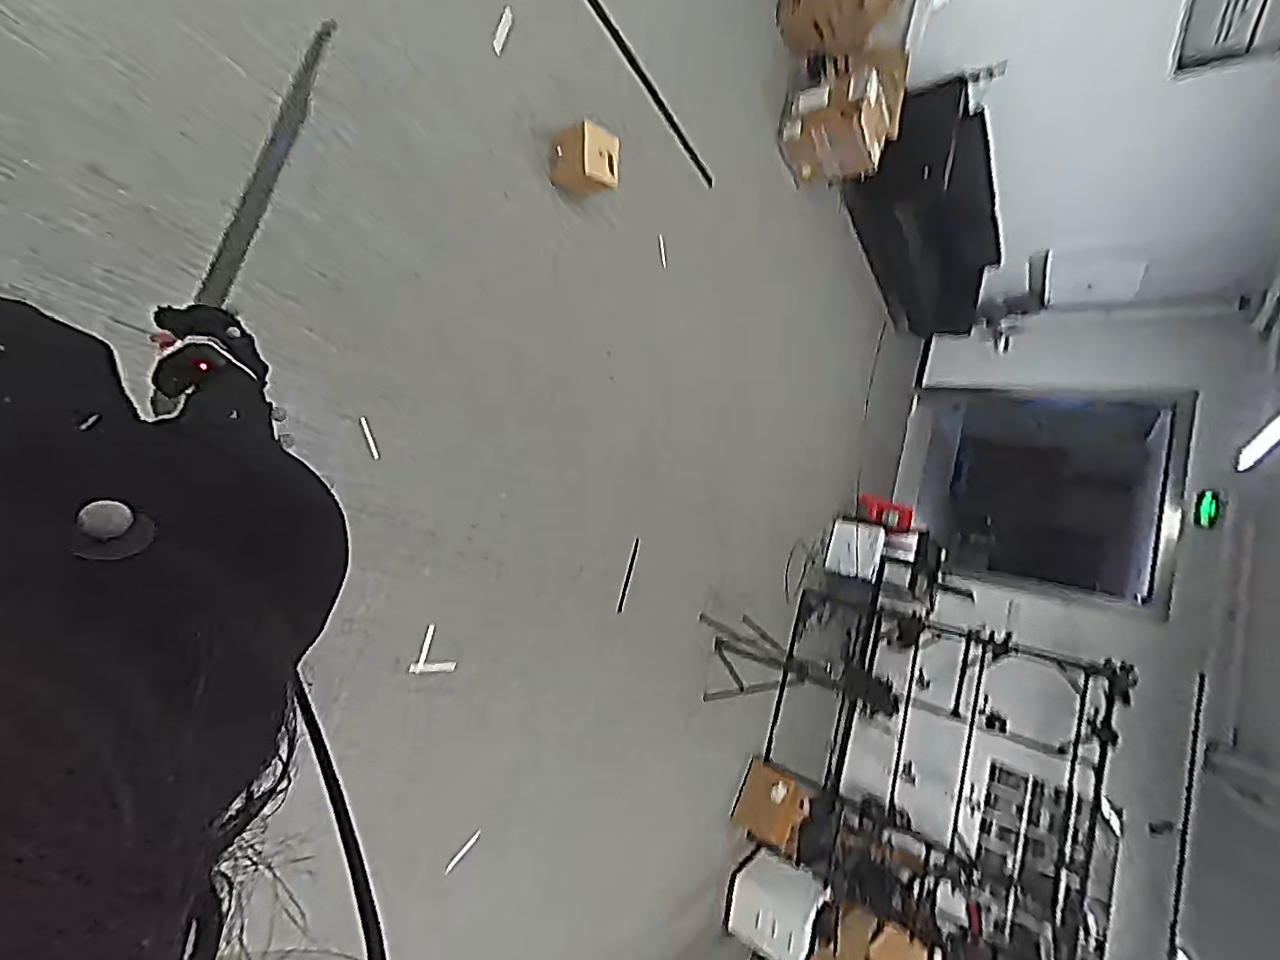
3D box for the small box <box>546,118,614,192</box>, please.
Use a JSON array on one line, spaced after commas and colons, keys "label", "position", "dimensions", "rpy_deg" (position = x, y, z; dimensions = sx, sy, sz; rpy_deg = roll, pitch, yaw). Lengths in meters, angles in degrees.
[{"label": "small box", "position": [-0.212, -1.147, 1.926], "dimensions": [0.179, 0.176, 0.168], "rpy_deg": [-10, 105, -51]}]
